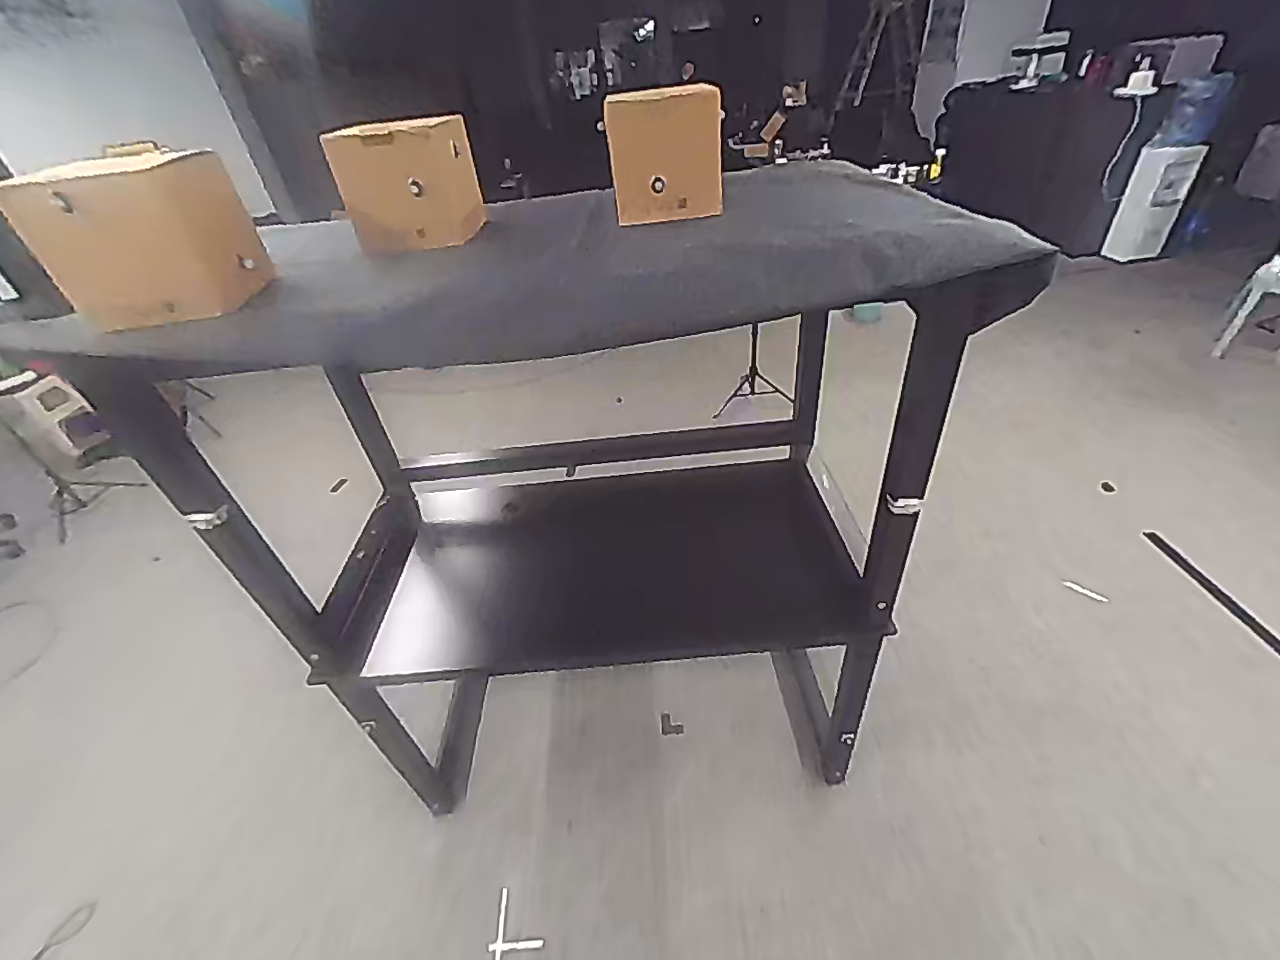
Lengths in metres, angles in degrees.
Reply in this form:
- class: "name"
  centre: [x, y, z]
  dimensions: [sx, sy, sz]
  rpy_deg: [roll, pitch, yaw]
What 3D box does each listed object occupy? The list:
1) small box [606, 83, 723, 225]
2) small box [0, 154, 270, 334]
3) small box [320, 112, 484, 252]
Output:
- class: "small box"
  centre: [0.038, -0.521, 0.866]
  dimensions: [0.168, 0.176, 0.179]
  rpy_deg: [-6, 39, 2]
- class: "small box"
  centre: [-0.616, -0.302, 0.689]
  dimensions: [0.168, 0.176, 0.179]
  rpy_deg: [-10, 38, -4]
- class: "small box"
  centre: [-0.366, -0.476, 0.874]
  dimensions: [0.168, 0.176, 0.179]
  rpy_deg: [-3, 39, 3]
